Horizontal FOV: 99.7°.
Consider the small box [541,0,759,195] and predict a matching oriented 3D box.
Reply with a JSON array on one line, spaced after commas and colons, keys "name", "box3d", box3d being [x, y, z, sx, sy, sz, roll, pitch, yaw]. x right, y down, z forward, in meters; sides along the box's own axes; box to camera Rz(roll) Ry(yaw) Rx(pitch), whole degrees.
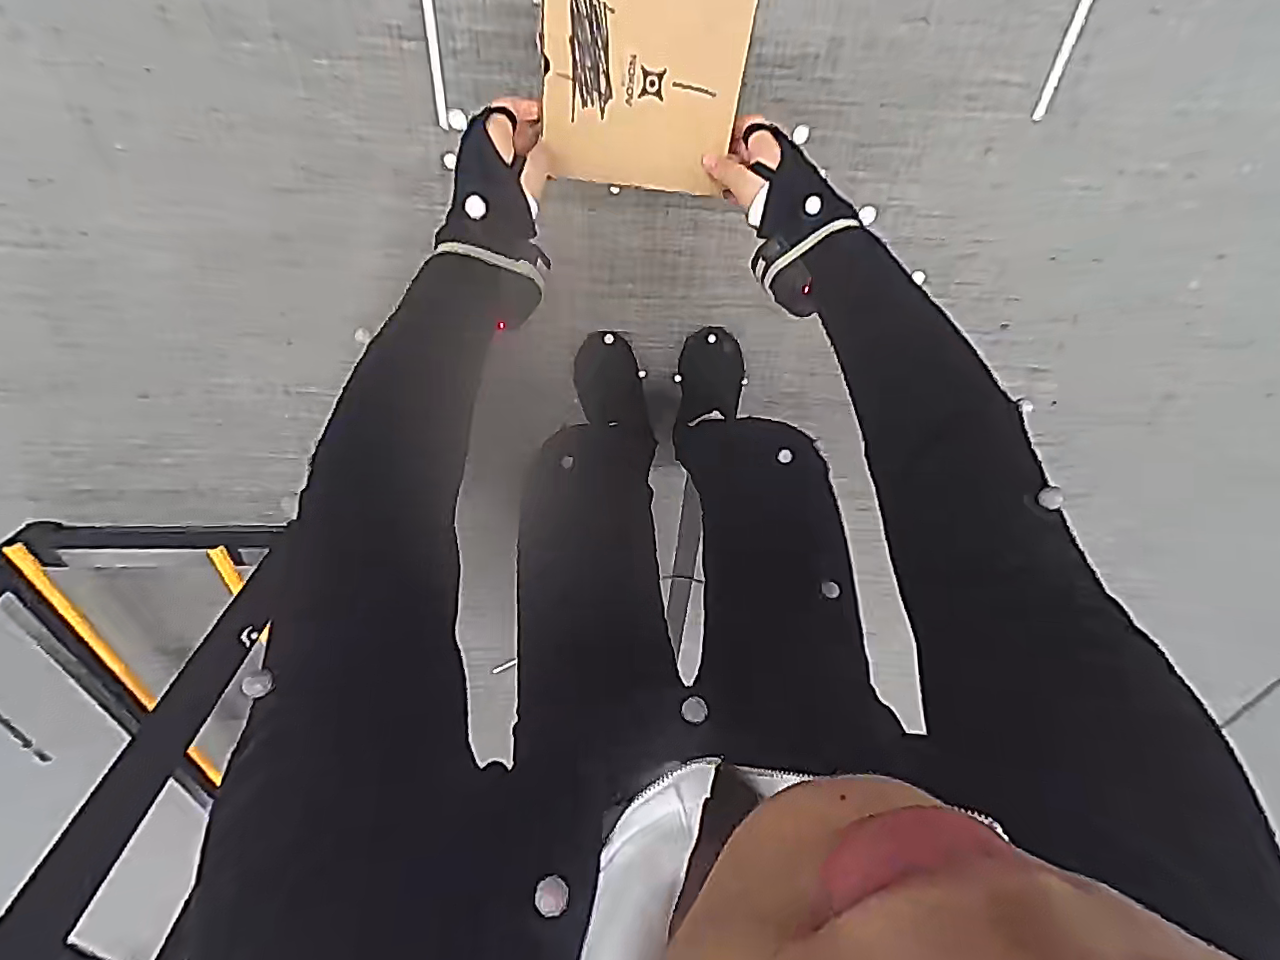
[{"name": "small box", "box3d": [-0.003, -0.397, 0.532, 0.179, 0.176, 0.168, 2, 129, -9]}]
